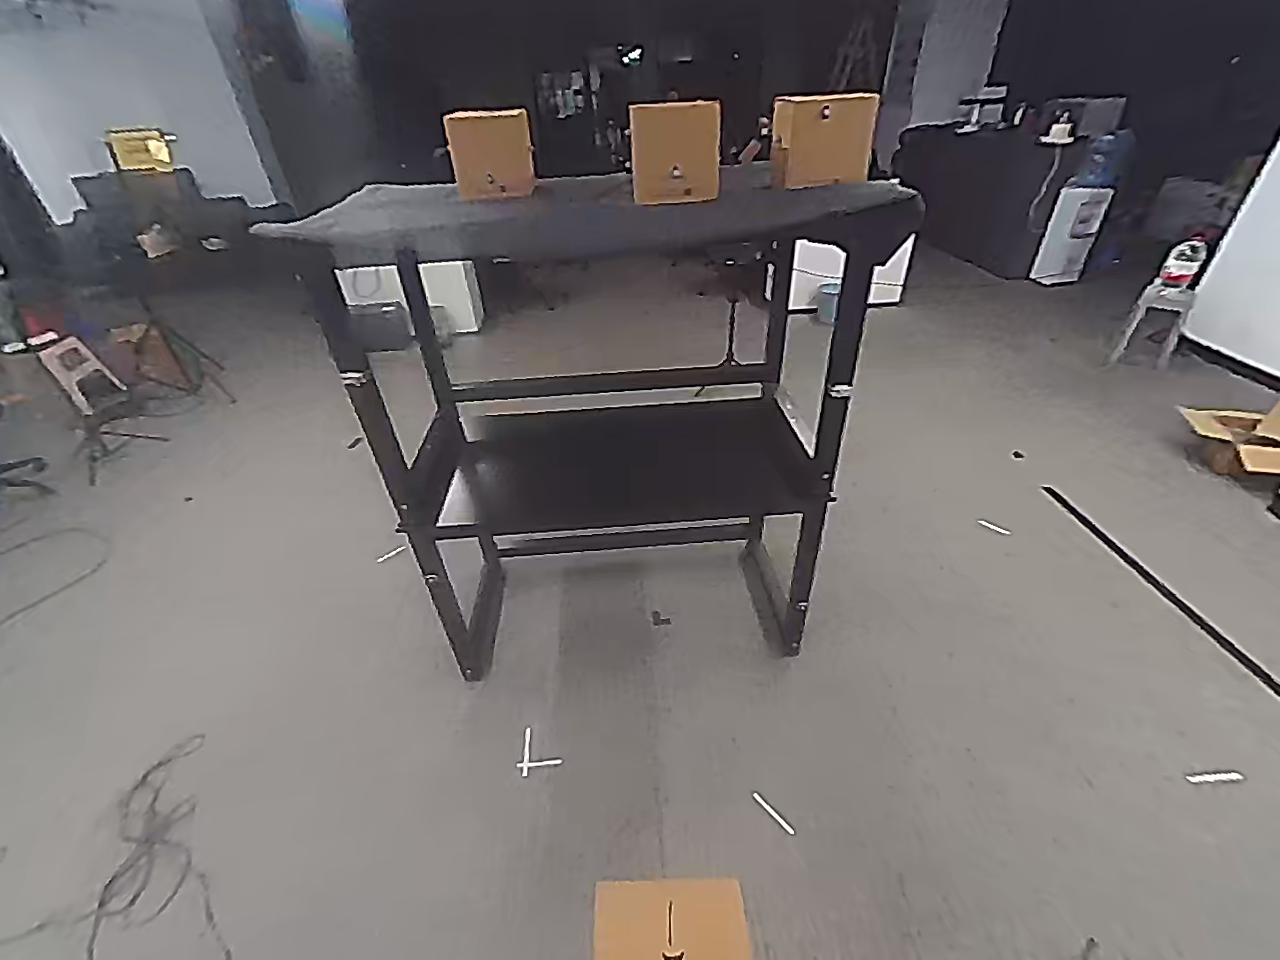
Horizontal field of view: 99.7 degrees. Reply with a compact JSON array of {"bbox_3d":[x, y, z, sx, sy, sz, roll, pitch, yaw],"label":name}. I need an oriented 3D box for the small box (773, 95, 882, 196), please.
[{"bbox_3d":[0.381,-0.701,1.136,0.168,0.176,0.179,-3,35,2],"label":"small box"}]

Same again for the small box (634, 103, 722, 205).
[{"bbox_3d":[0.074,-0.673,1.121,0.168,0.176,0.179,-4,34,1],"label":"small box"}]
